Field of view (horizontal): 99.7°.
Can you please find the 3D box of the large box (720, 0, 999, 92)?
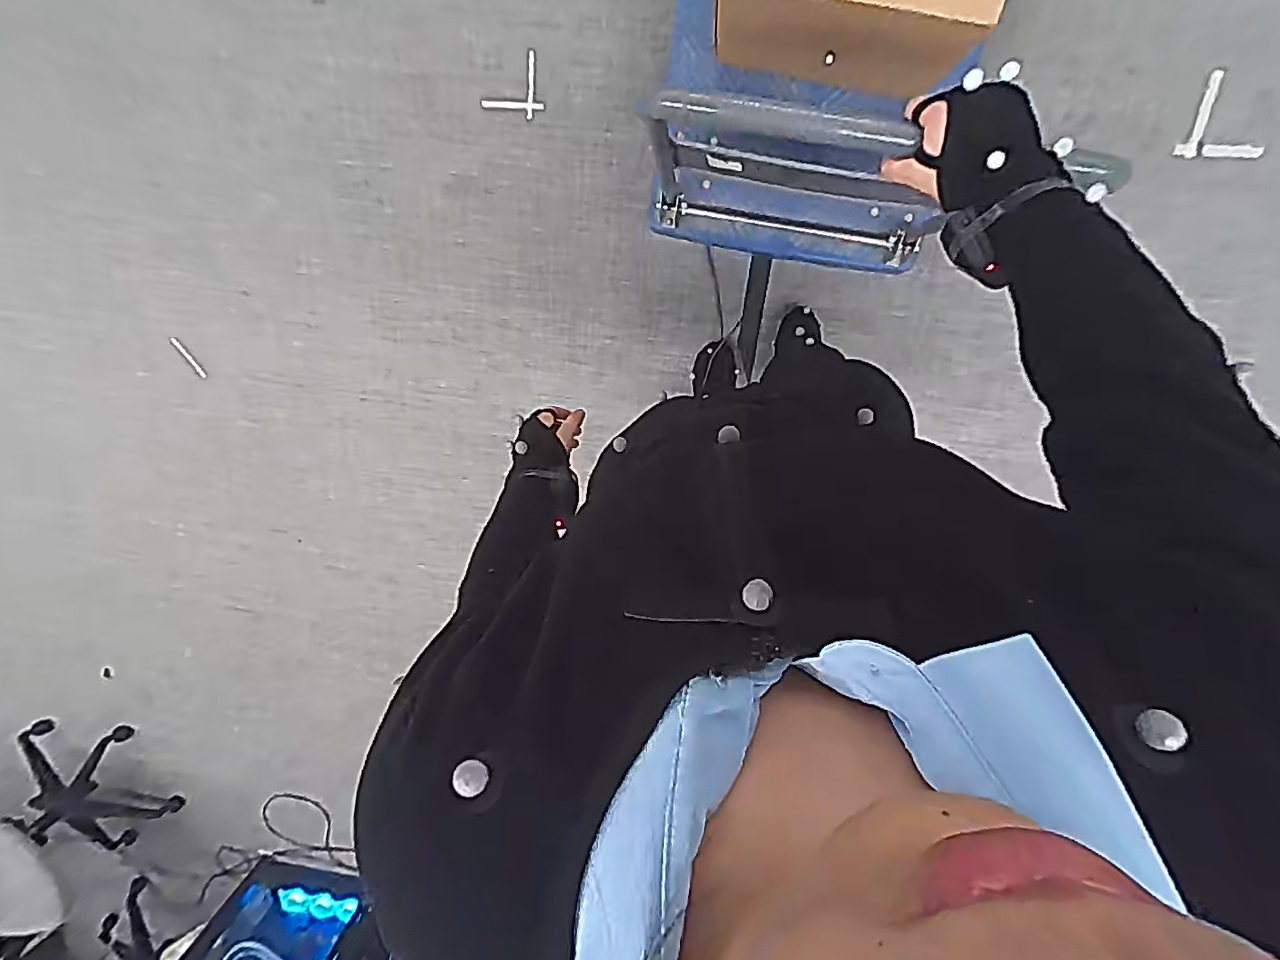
[{"bbox_3d":[0.362,-0.887,0.878,0.408,0.320,0.320,13,108,4],"label":"large box"}]
